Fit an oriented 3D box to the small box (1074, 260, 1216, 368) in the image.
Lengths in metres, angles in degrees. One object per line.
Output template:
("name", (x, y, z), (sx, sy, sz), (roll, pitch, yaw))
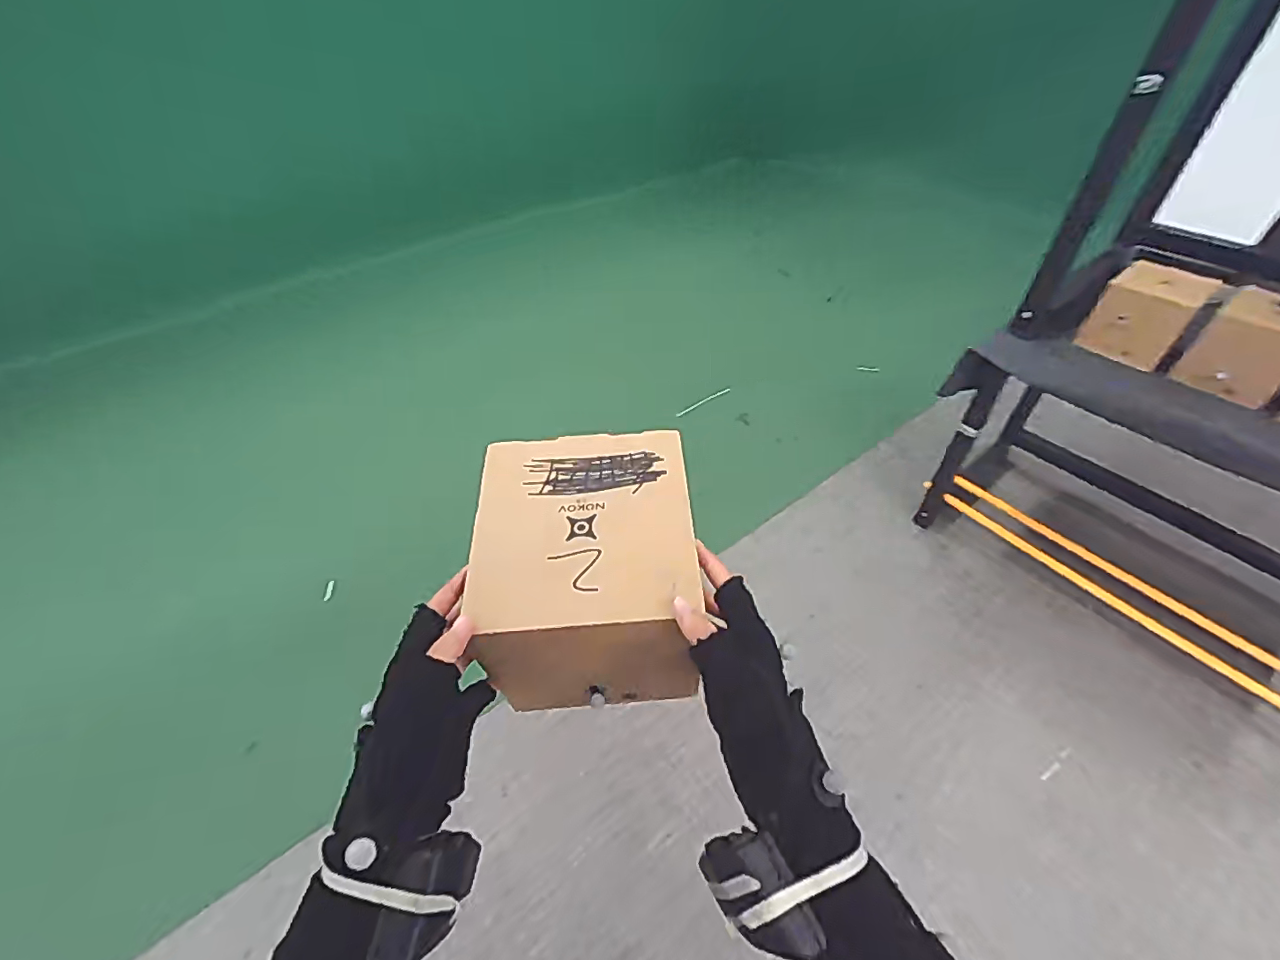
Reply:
("small box", (1.171, -0.388, 1.268), (0.179, 0.176, 0.168), (-31, 52, -26))
